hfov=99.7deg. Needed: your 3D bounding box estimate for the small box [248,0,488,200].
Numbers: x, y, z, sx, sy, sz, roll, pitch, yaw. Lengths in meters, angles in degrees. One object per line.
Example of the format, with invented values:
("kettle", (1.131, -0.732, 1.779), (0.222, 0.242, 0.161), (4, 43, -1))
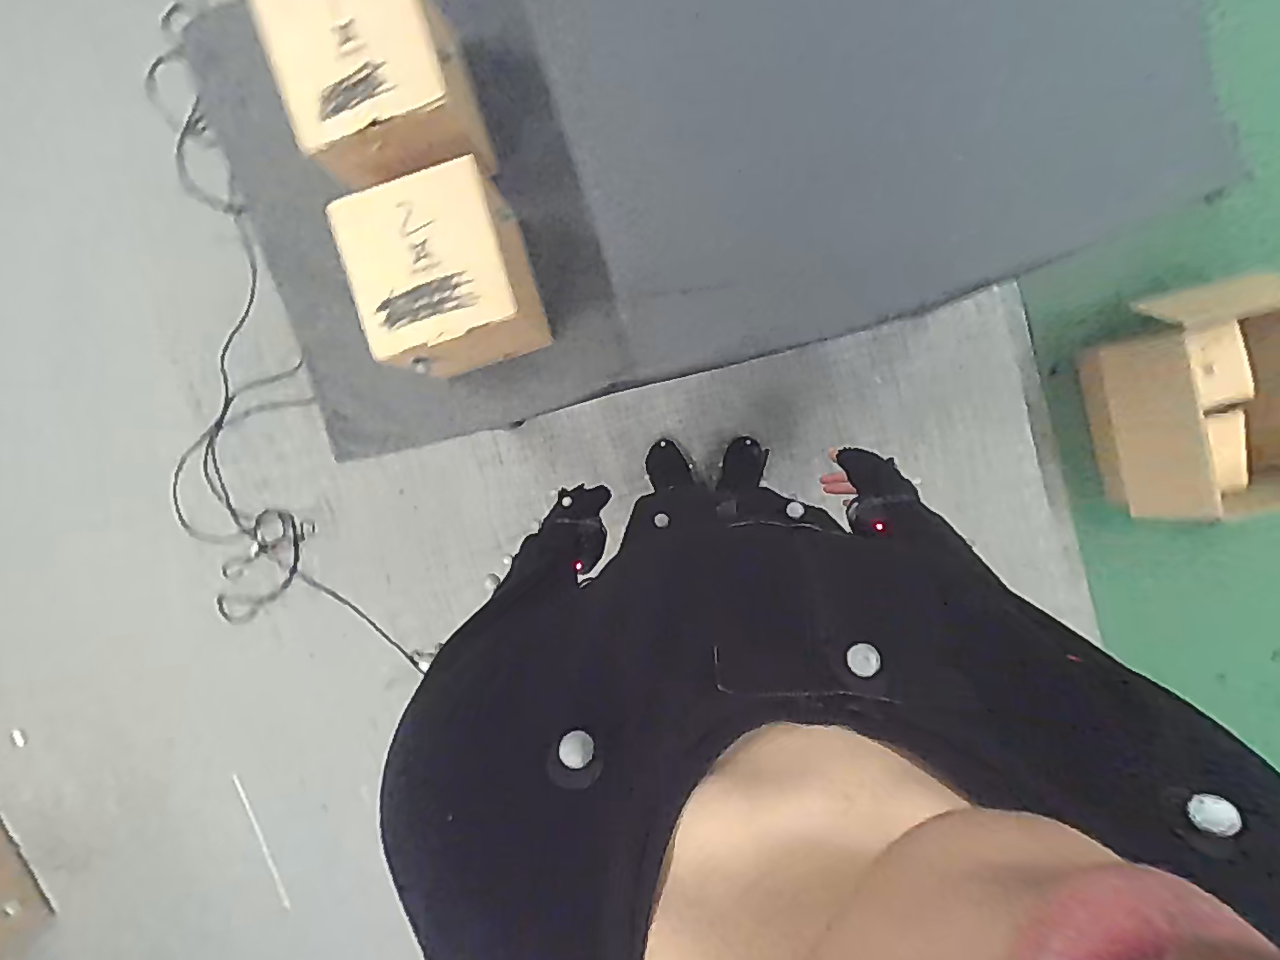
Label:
("small box", (-0.301, -0.459, 0.636), (0.168, 0.176, 0.179), (-17, 94, 5))
